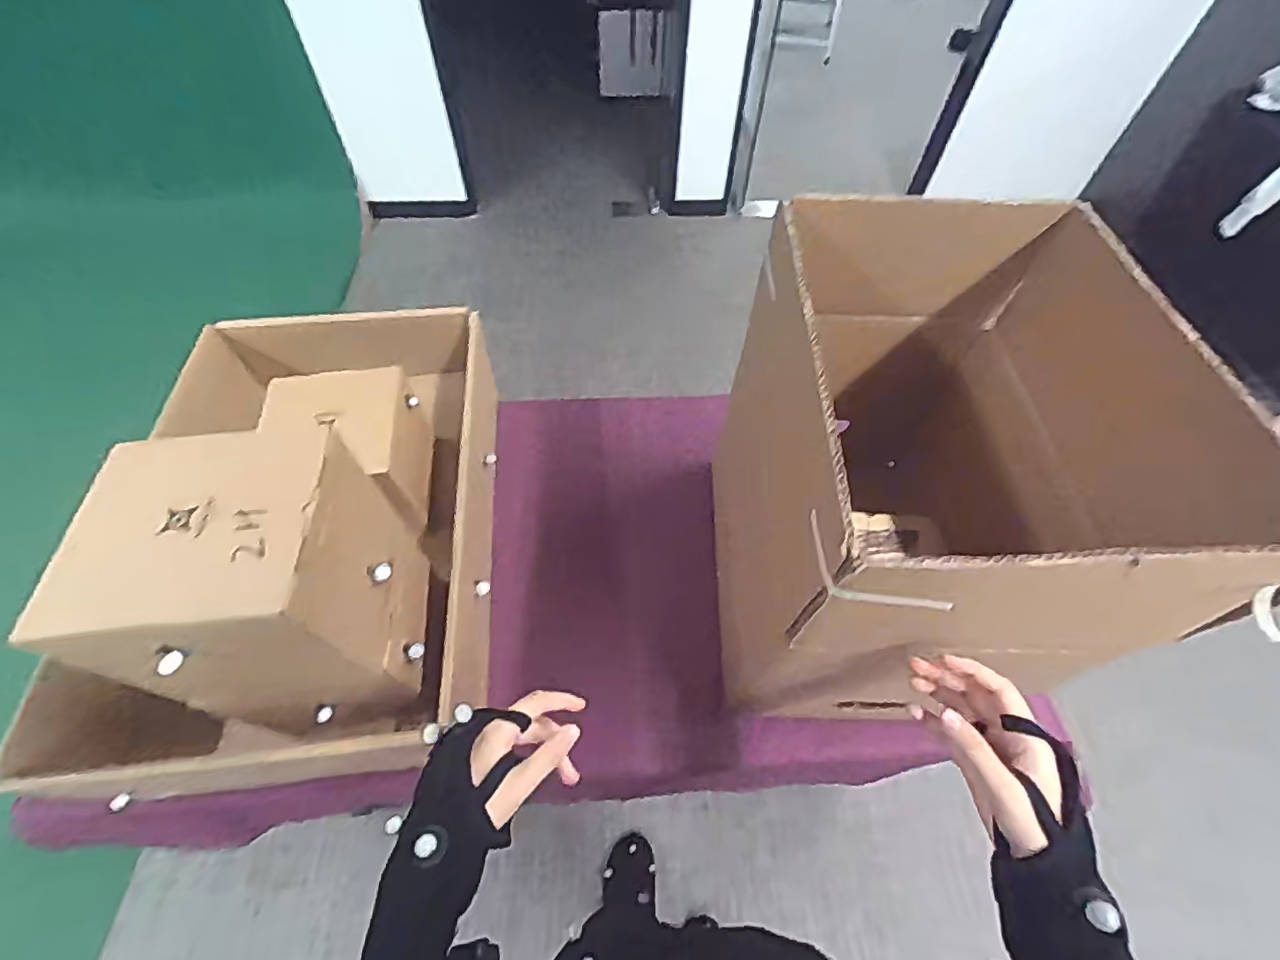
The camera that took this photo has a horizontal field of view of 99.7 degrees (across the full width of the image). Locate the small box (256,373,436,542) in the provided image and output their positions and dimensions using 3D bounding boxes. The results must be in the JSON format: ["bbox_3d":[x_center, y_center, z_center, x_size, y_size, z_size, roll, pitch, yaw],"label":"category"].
[{"bbox_3d":[-0.388,-0.017,0.736,0.168,0.176,0.179,-8,57,-5],"label":"small box"}]

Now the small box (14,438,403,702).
[{"bbox_3d":[-0.333,0.084,0.468,0.179,0.176,0.168,-5,57,-4],"label":"small box"}]
